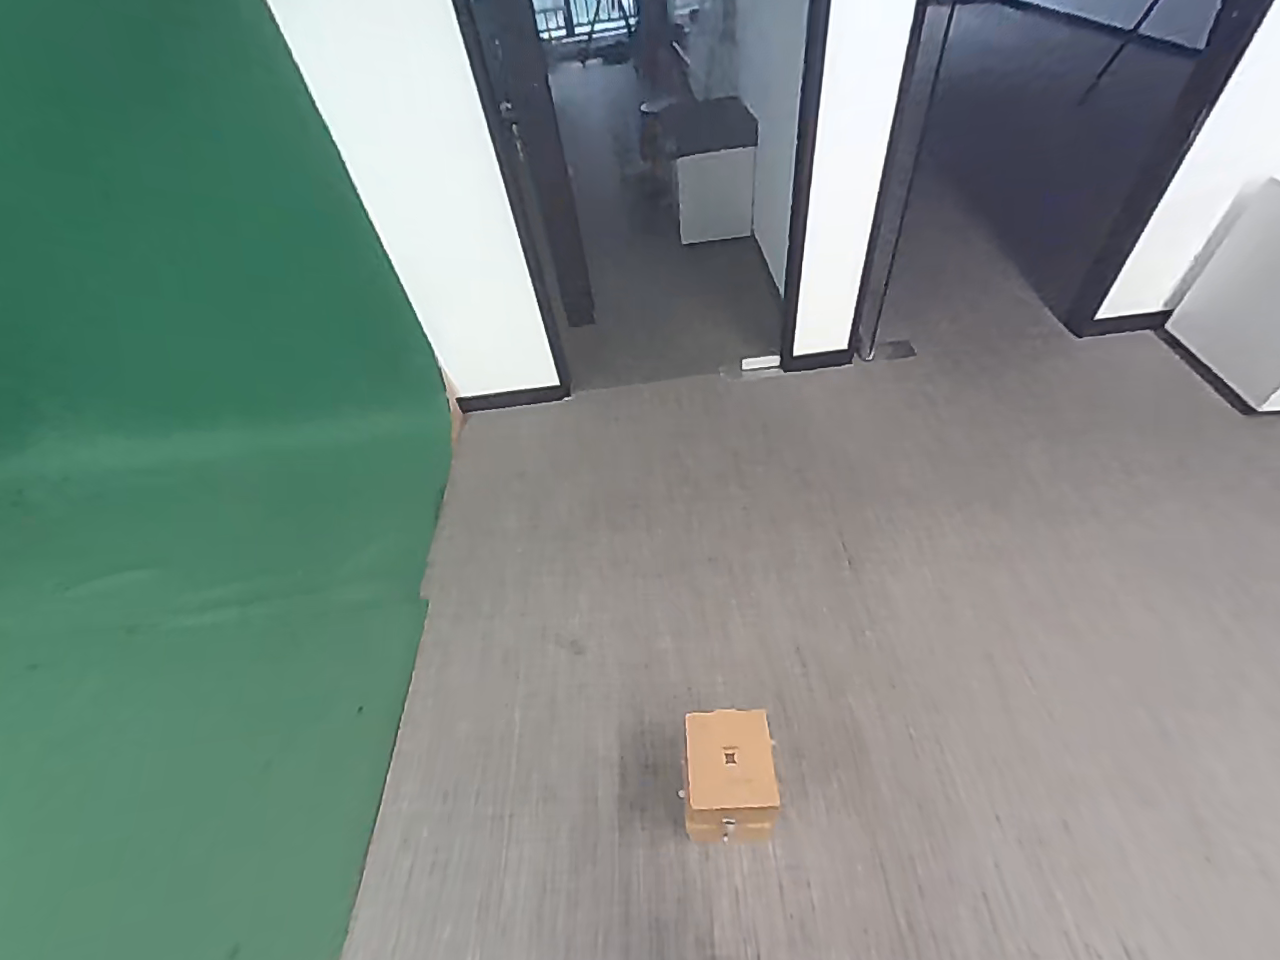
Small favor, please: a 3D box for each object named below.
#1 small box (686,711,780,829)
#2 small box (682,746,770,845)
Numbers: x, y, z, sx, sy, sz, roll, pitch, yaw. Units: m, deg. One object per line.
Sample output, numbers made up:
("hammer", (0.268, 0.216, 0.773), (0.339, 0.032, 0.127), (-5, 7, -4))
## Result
("small box", (0.184, 0.594, 1.106), (0.168, 0.176, 0.179), (-6, 48, 5))
("small box", (0.189, 0.710, 1.219), (0.179, 0.176, 0.168), (-5, 47, 6))
